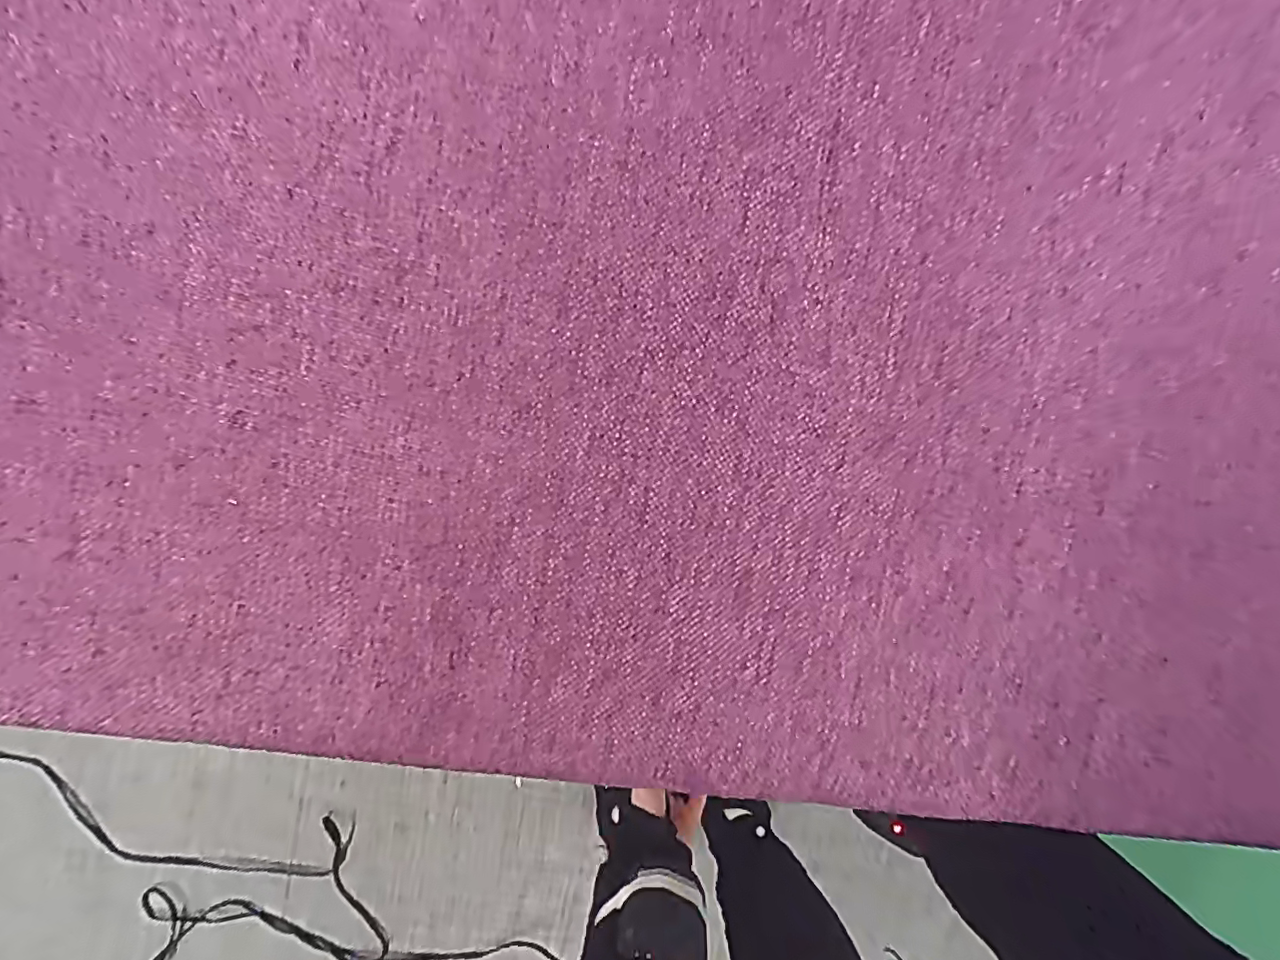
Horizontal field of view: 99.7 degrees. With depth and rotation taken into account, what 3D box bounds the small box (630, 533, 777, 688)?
[{"bbox_3d":[0.082,0.179,0.795,0.179,0.176,0.168,8,95,-2],"label":"small box"}]
